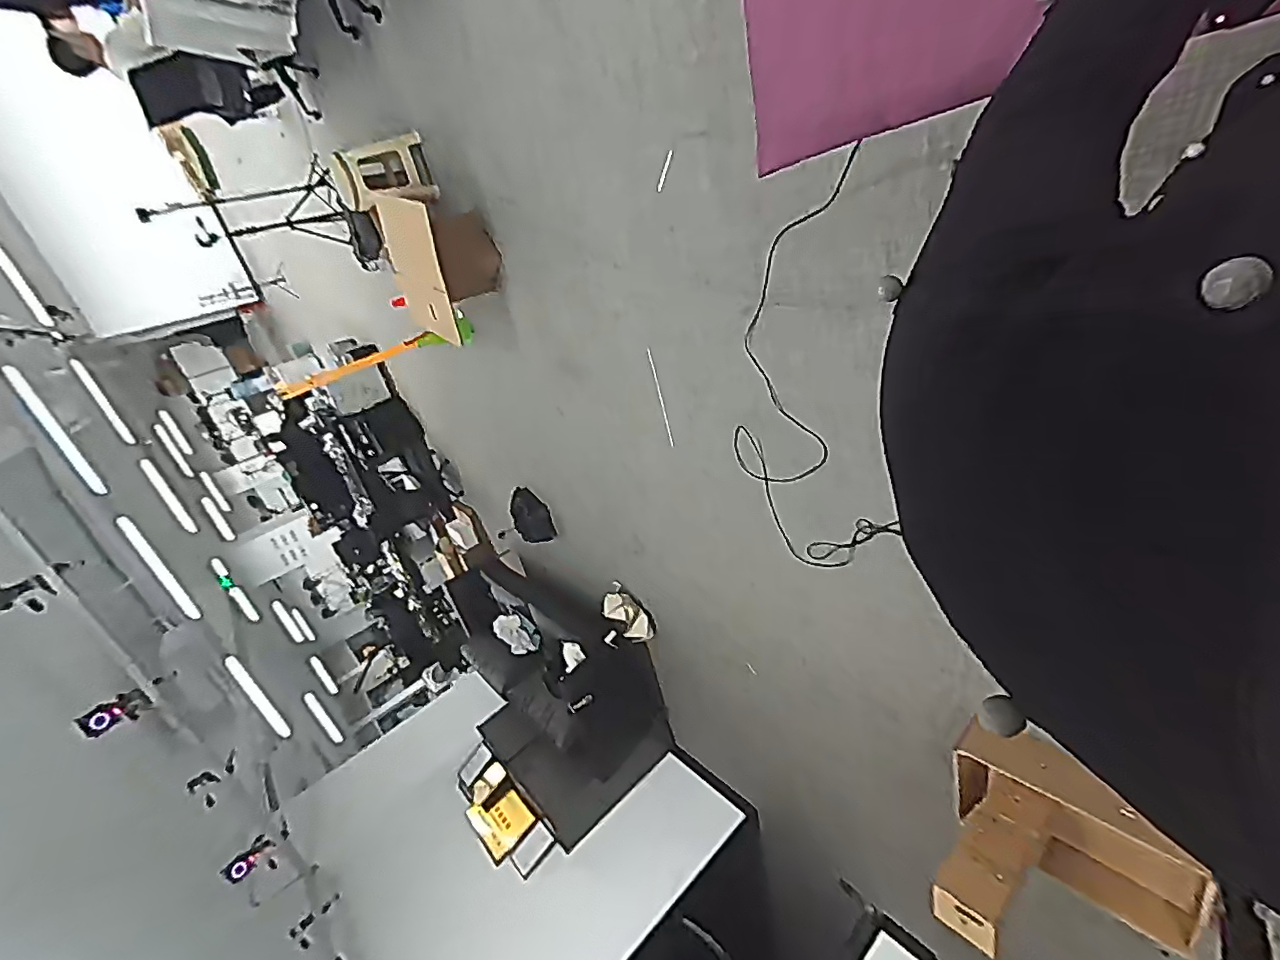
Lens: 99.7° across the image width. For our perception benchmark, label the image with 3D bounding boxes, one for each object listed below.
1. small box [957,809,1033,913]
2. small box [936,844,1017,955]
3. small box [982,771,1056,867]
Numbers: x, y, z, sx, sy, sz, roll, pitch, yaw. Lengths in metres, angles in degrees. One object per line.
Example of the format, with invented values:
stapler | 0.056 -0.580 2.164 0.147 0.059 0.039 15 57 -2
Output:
small box | 1.131 1.205 1.726 0.168 0.176 0.179 14 127 48
small box | 1.024 1.265 1.645 0.168 0.176 0.179 15 129 49
small box | 1.271 1.124 1.810 0.168 0.176 0.179 7 123 50
